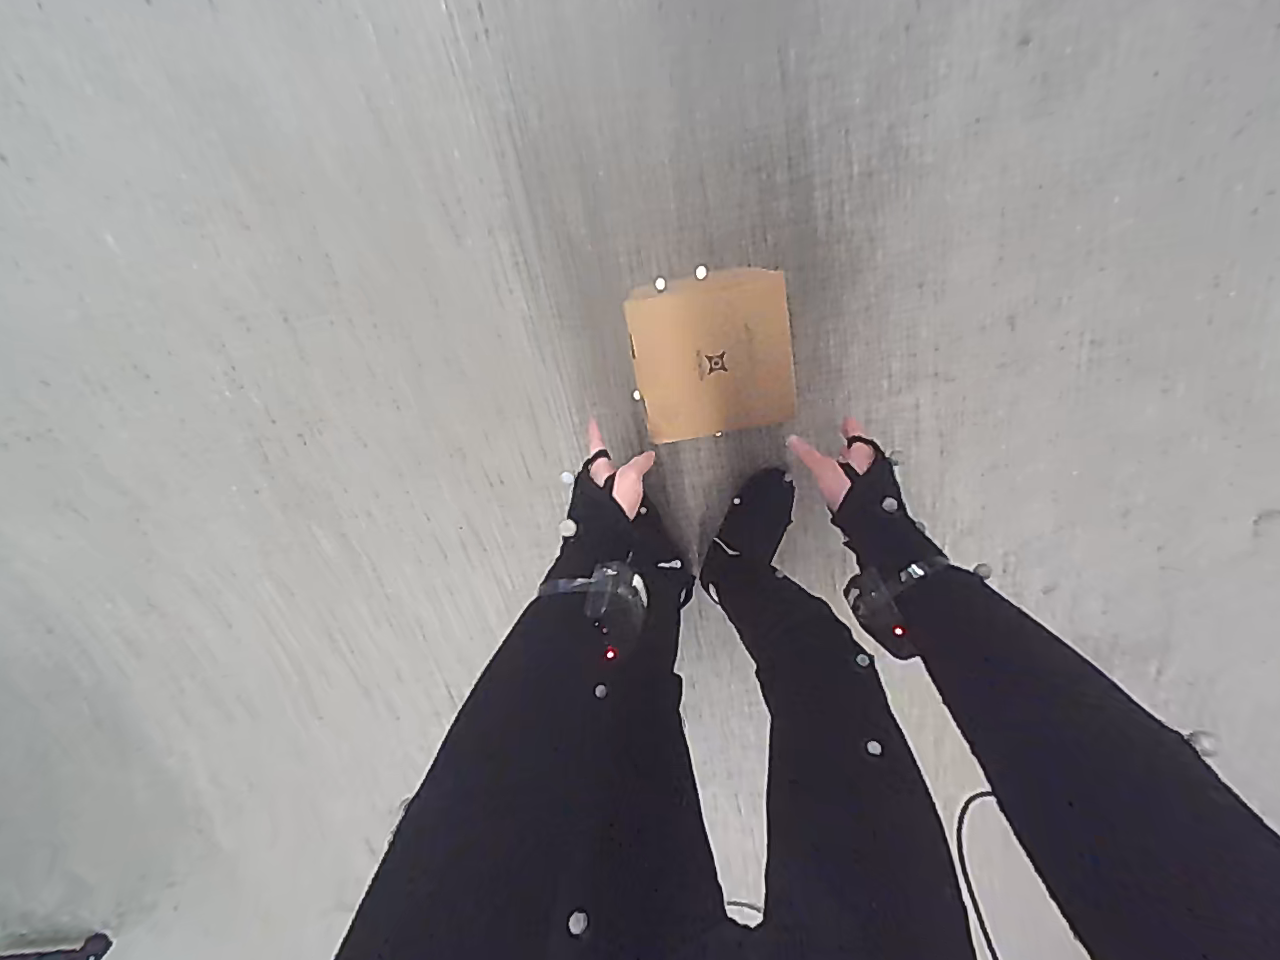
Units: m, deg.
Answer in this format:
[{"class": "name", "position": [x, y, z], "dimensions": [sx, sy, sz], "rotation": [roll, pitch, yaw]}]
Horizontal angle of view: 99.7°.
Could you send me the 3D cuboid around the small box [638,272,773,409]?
[{"class": "small box", "position": [0.096, -0.221, 0.834], "dimensions": [0.179, 0.176, 0.168], "rotation": [-9, 111, 5]}]
